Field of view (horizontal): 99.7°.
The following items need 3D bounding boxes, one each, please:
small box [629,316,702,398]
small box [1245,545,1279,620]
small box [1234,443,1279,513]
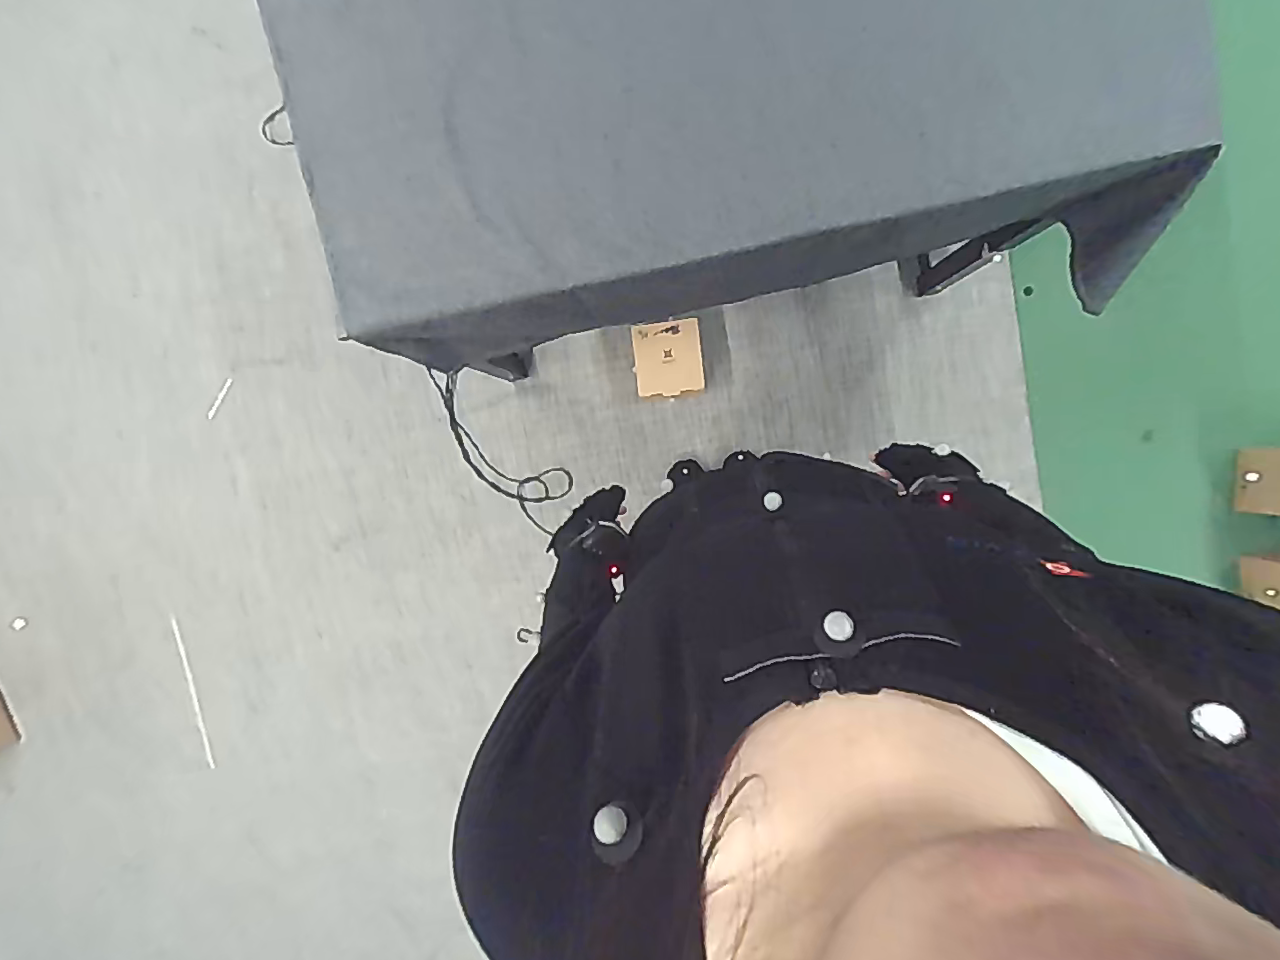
[{"bbox_3d":[0.069,-0.304,1.378,0.168,0.176,0.179,-6,94,5],"label":"small box"},{"bbox_3d":[1.630,0.253,1.303,0.179,0.176,0.168,-13,93,4],"label":"small box"},{"bbox_3d":[1.600,-0.004,1.288,0.179,0.176,0.168,0,93,6],"label":"small box"}]
